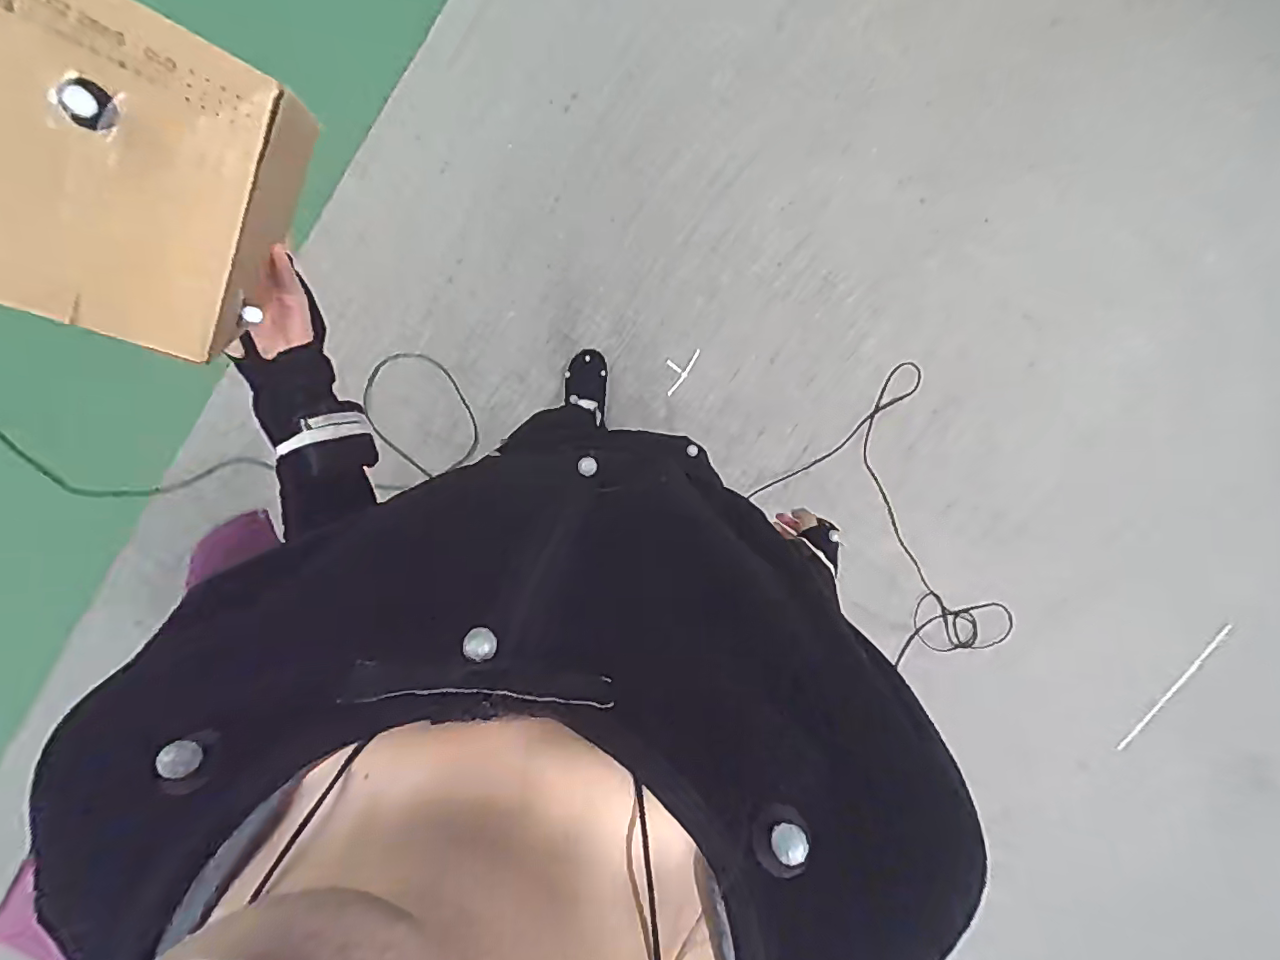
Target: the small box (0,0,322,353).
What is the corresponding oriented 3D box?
[{"bbox_3d":[-0.316,-0.207,0.333,0.168,0.179,0.176,19,107,-31],"label":"small box"}]
